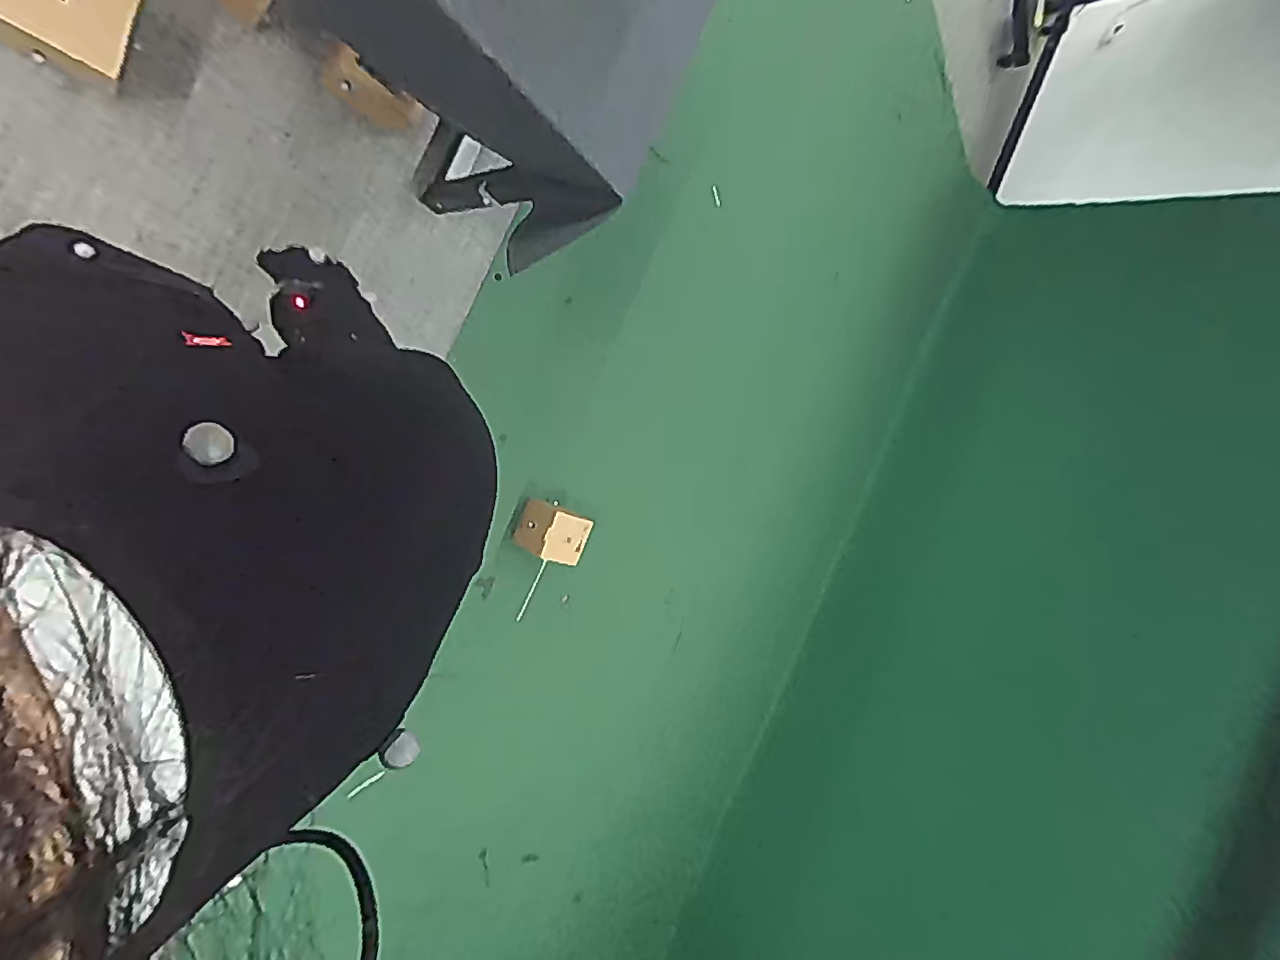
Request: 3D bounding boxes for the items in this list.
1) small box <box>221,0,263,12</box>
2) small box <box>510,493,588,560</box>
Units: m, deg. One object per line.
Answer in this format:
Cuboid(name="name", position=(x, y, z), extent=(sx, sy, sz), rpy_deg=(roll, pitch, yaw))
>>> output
Cuboid(name="small box", position=(-0.738, -0.976, 0.947), extent=(0.179, 0.176, 0.168), rpy_deg=(23, 89, -47))
Cuboid(name="small box", position=(-0.319, 0.157, 1.871), extent=(0.179, 0.176, 0.168), rpy_deg=(25, 89, -47))
